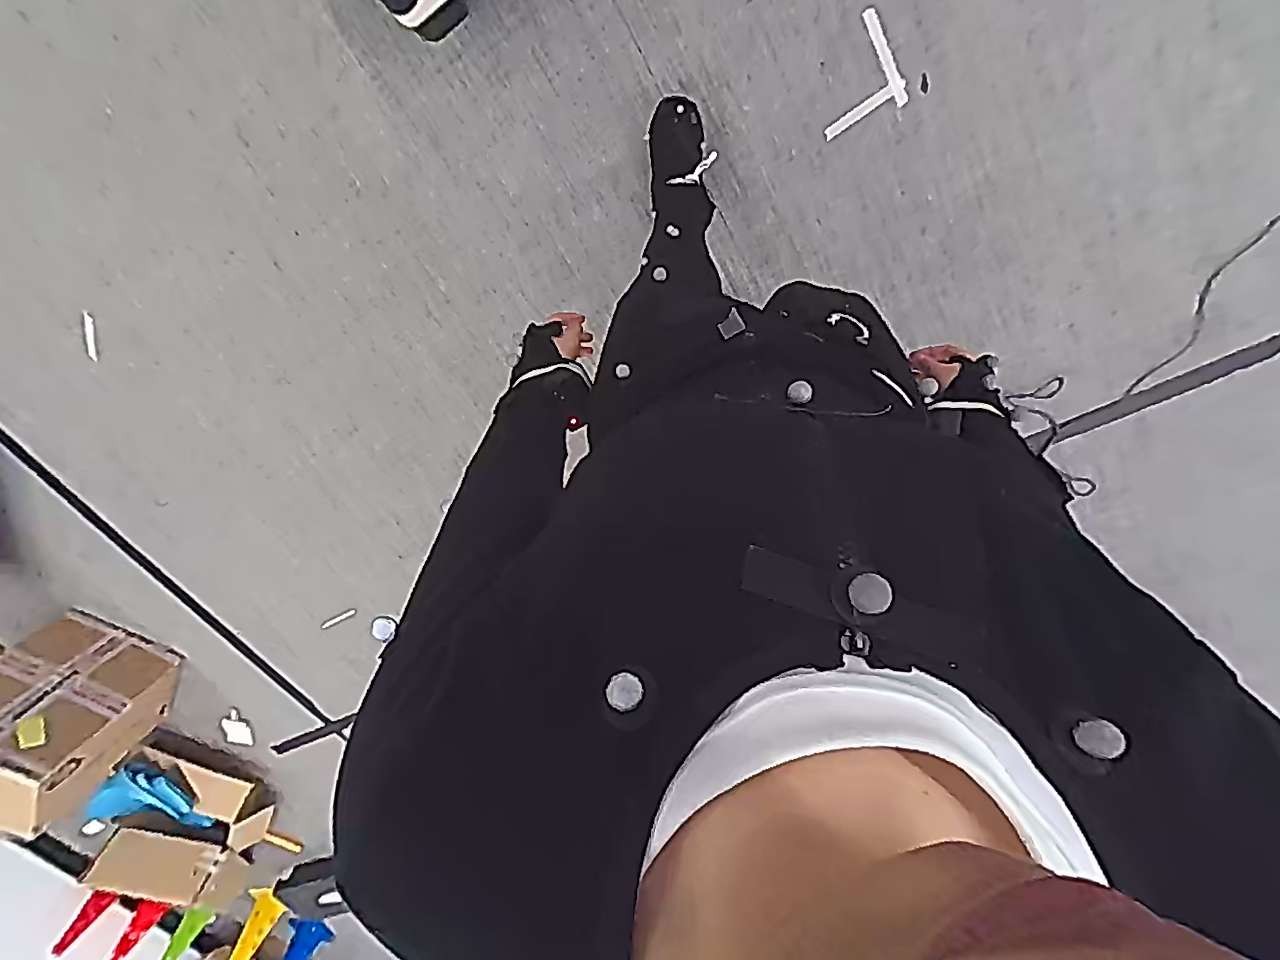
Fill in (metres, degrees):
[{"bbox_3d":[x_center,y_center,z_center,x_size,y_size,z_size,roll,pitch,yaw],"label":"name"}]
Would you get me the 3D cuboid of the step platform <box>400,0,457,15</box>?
[{"bbox_3d":[-0.210,-1.085,0.818,0.684,0.204,0.286,-26,111,18],"label":"step platform"}]
